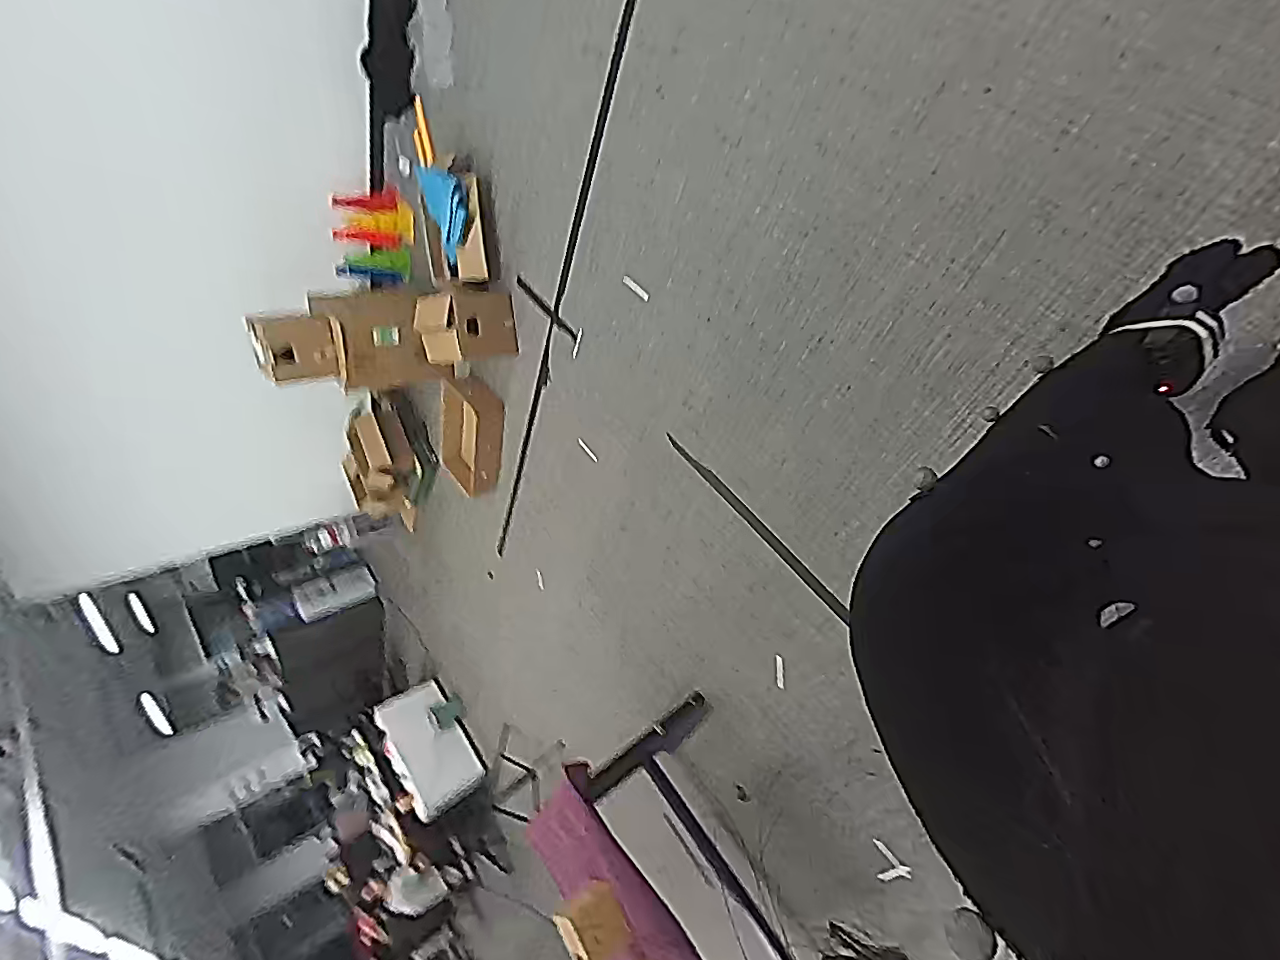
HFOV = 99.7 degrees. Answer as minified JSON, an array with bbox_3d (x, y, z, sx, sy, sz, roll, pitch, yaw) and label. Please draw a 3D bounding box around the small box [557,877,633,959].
[{"bbox_3d":[-0.151,1.504,1.840,0.179,0.176,0.168,59,140,15],"label":"small box"}]
